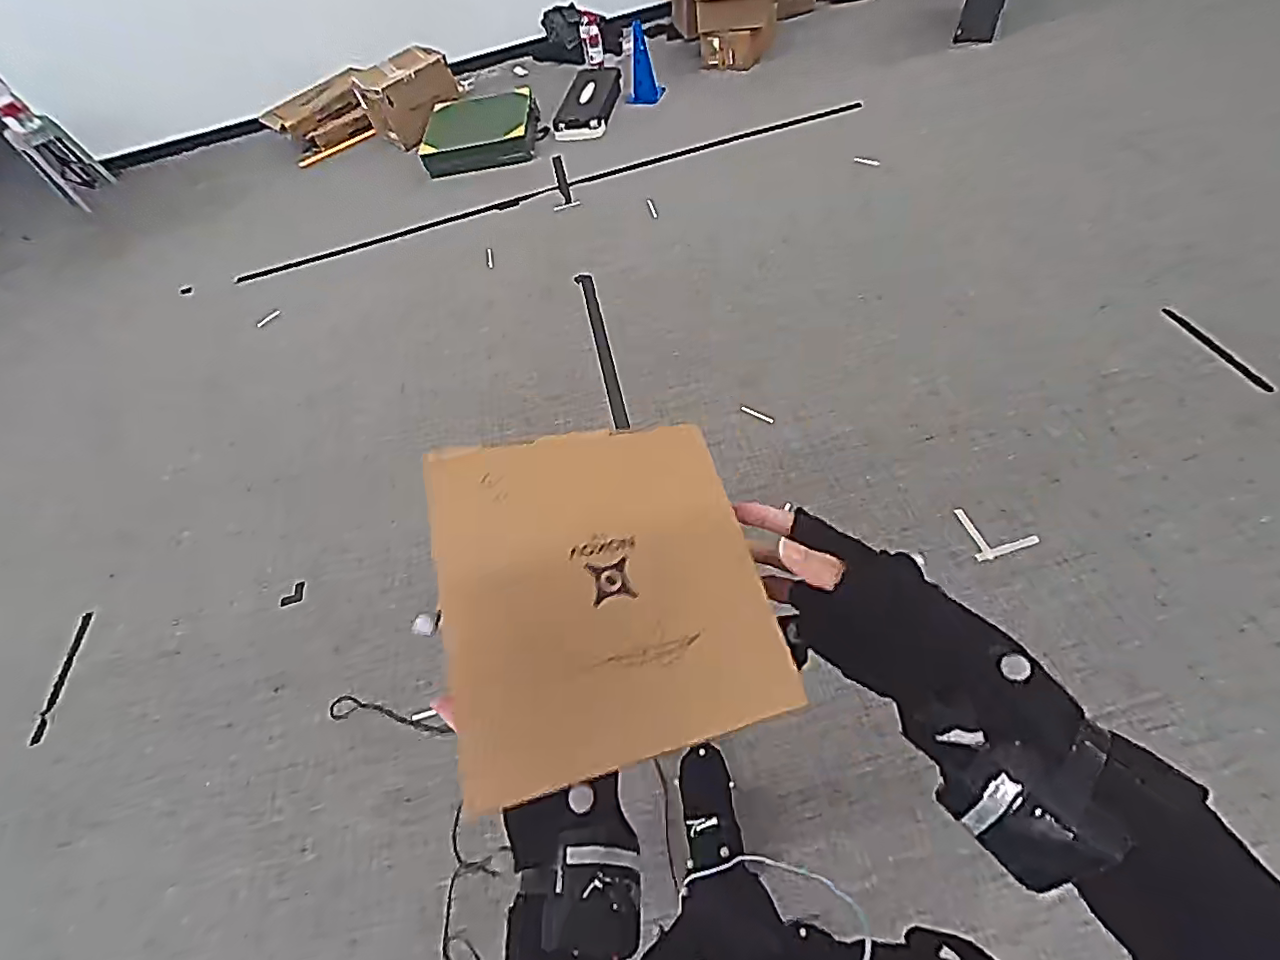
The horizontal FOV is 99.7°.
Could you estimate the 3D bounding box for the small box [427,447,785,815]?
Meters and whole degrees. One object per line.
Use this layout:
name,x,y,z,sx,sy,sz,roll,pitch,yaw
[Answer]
small box,-0.040,0.102,0.358,0.168,0.176,0.179,-8,62,-18
